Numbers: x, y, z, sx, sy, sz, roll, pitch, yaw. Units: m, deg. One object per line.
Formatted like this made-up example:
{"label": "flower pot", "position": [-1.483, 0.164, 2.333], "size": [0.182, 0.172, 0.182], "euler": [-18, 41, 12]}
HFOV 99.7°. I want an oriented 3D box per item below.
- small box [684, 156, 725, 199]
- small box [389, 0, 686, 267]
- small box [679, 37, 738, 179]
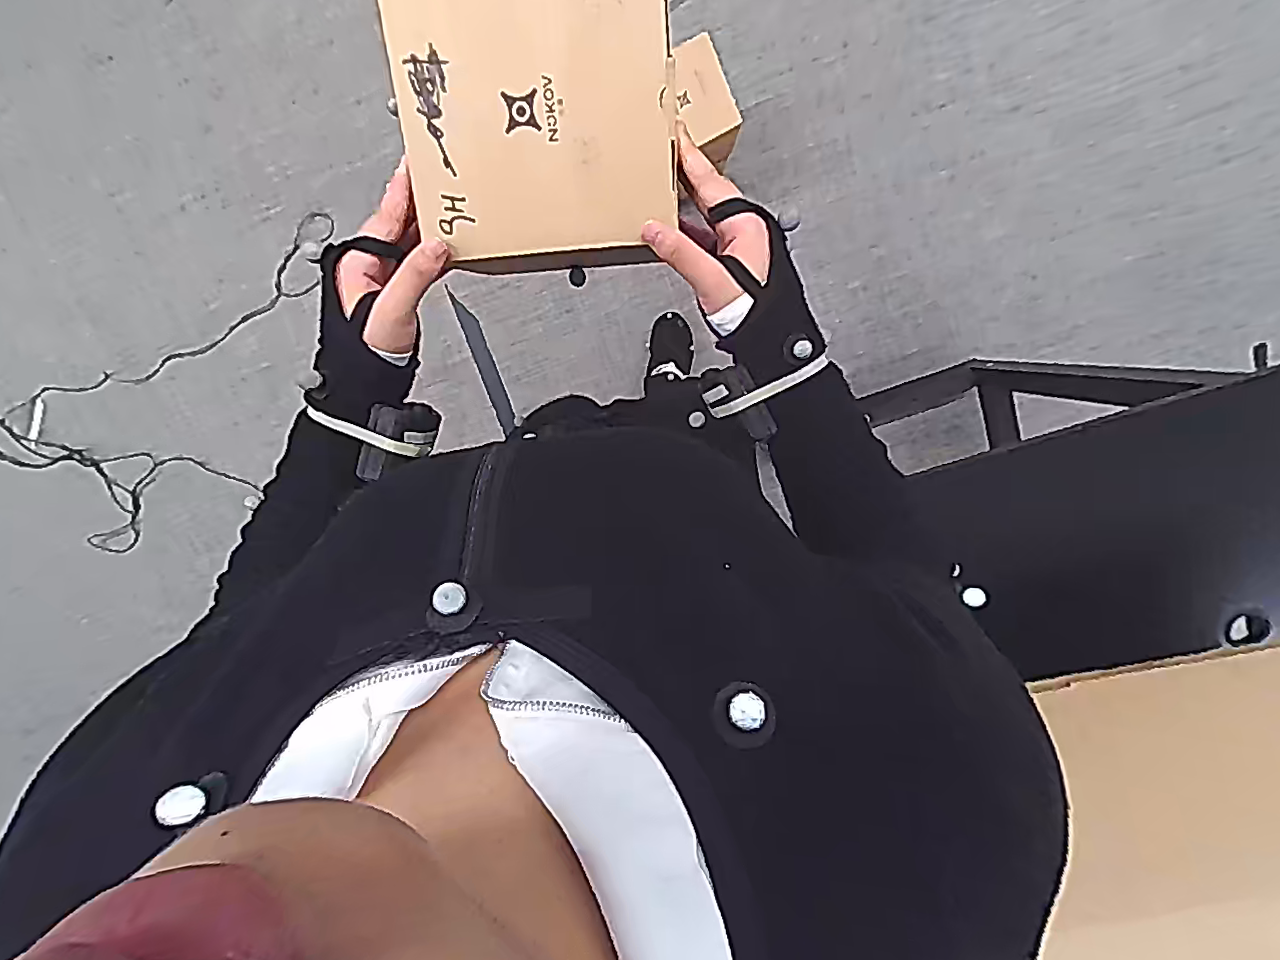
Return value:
{"label": "small box", "position": [0.076, -0.744, 1.233], "size": [0.179, 0.176, 0.168], "euler": [-22, 101, 8]}
{"label": "small box", "position": [-0.063, -0.264, 0.419], "size": [0.179, 0.176, 0.168], "euler": [-4, 107, 1]}
{"label": "small box", "position": [0.075, -0.710, 1.074], "size": [0.179, 0.176, 0.168], "euler": [-25, 102, 7]}
